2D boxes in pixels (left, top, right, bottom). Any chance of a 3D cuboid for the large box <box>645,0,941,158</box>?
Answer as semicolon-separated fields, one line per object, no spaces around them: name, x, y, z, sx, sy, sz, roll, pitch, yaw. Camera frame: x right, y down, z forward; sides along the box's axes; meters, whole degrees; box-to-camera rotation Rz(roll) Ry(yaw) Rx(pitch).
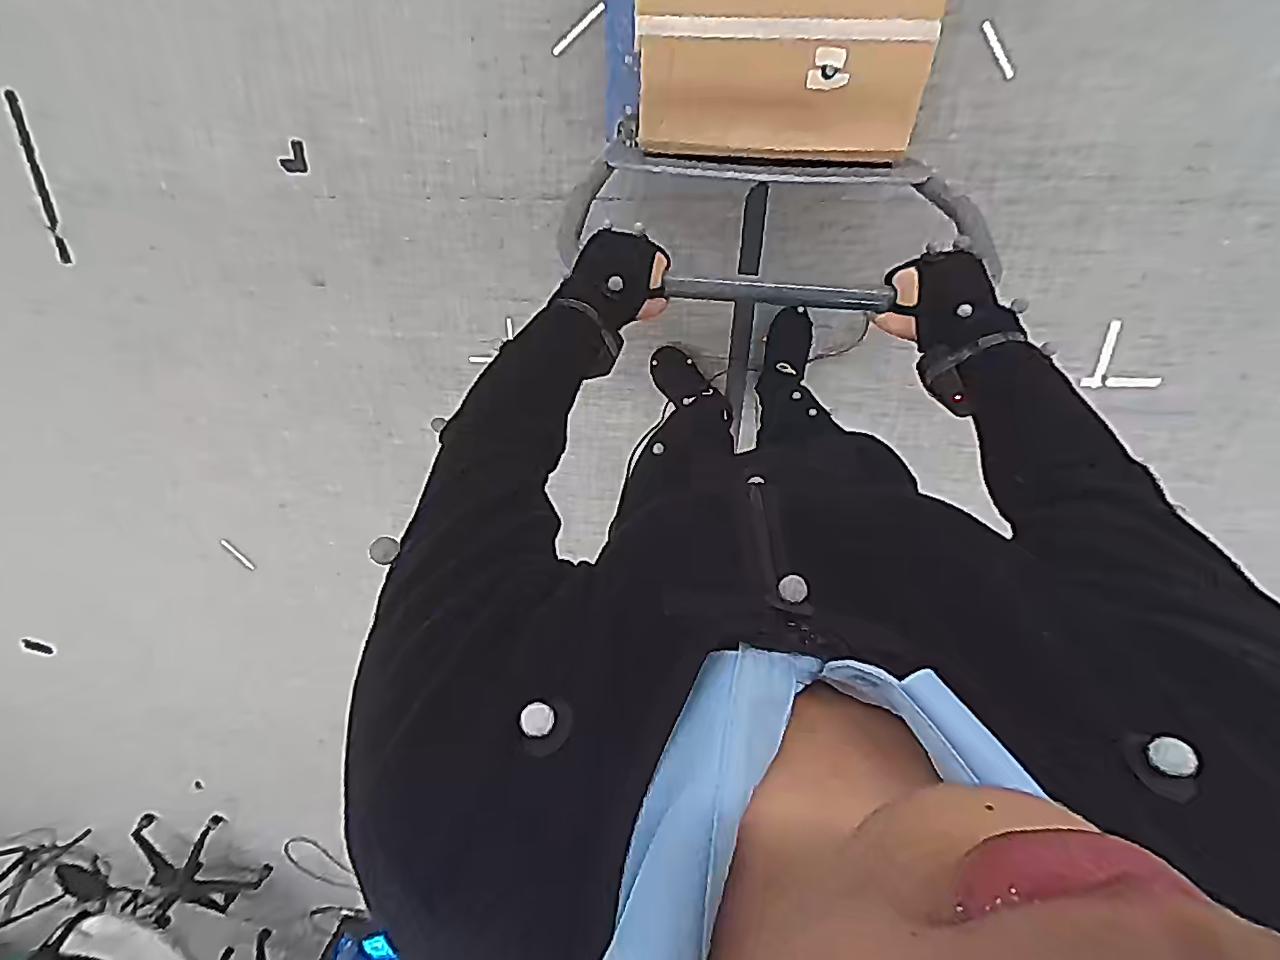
large box;0.219;-0.719;0.876;0.408;0.320;0.320;4;127;4
